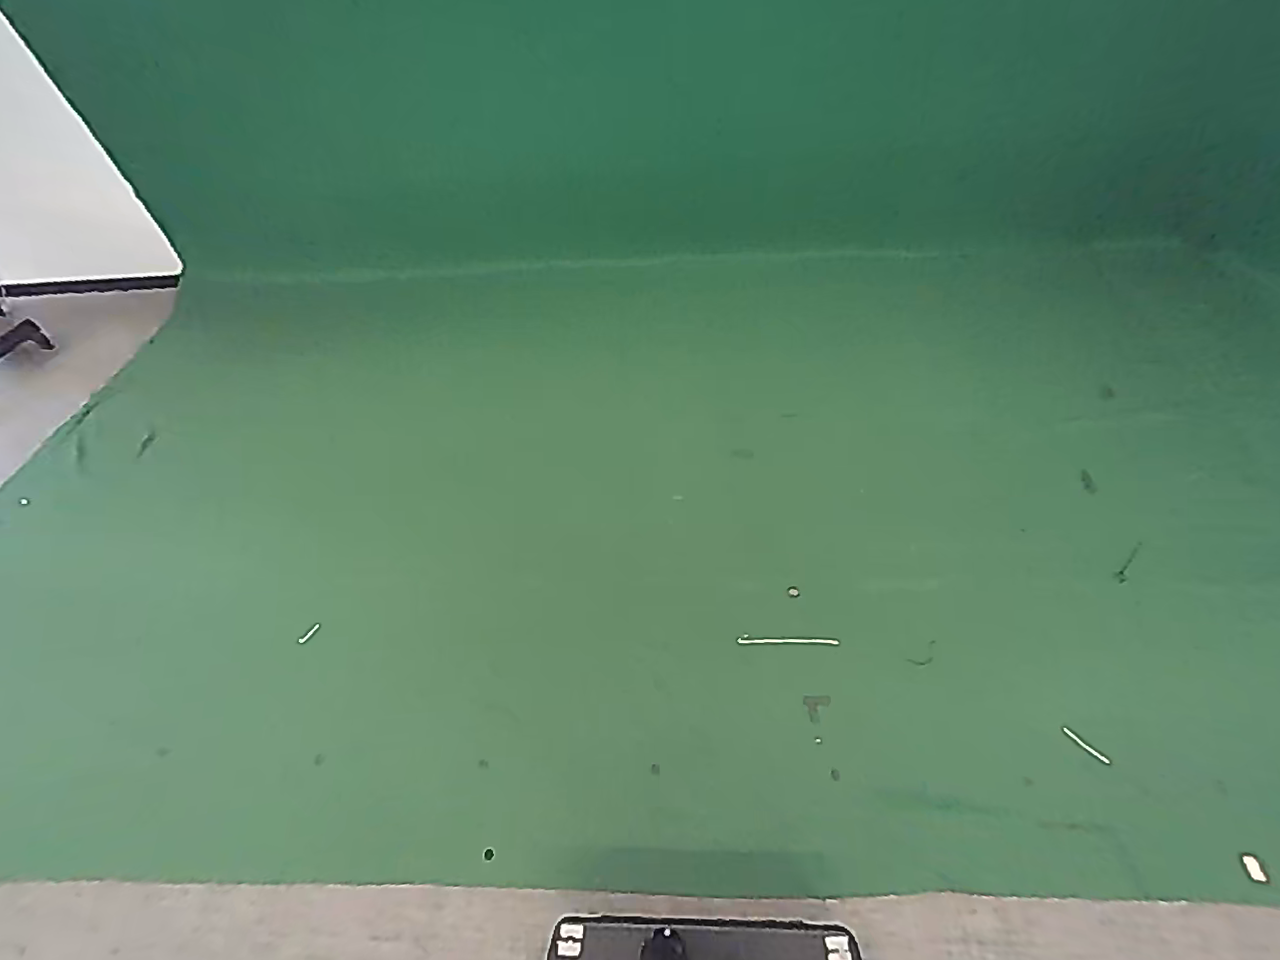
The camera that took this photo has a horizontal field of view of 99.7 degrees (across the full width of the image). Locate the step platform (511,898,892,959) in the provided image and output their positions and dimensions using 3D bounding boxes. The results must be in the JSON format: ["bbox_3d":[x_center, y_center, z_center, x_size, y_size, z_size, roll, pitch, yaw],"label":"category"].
[{"bbox_3d":[0.111,0.955,0.991,0.684,0.204,0.286,-2,50,4],"label":"step platform"}]
